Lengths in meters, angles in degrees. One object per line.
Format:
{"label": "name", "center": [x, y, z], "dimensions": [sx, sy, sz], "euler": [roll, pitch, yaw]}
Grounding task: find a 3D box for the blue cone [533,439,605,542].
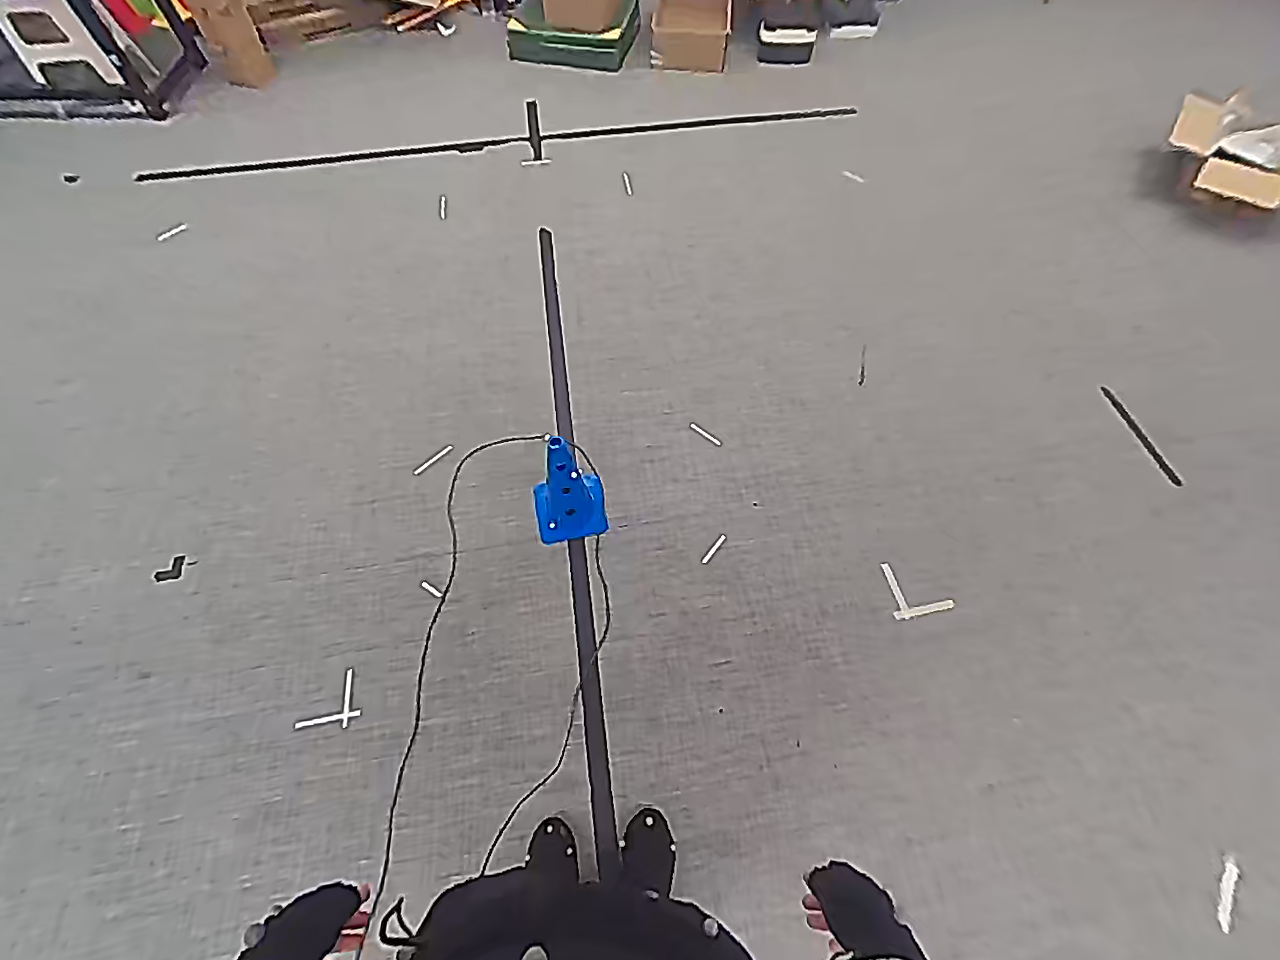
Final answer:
{"label": "blue cone", "center": [-0.202, 0.001, 1.436], "dimensions": [0.192, 0.380, 0.193], "euler": [-12, 62, -8]}
